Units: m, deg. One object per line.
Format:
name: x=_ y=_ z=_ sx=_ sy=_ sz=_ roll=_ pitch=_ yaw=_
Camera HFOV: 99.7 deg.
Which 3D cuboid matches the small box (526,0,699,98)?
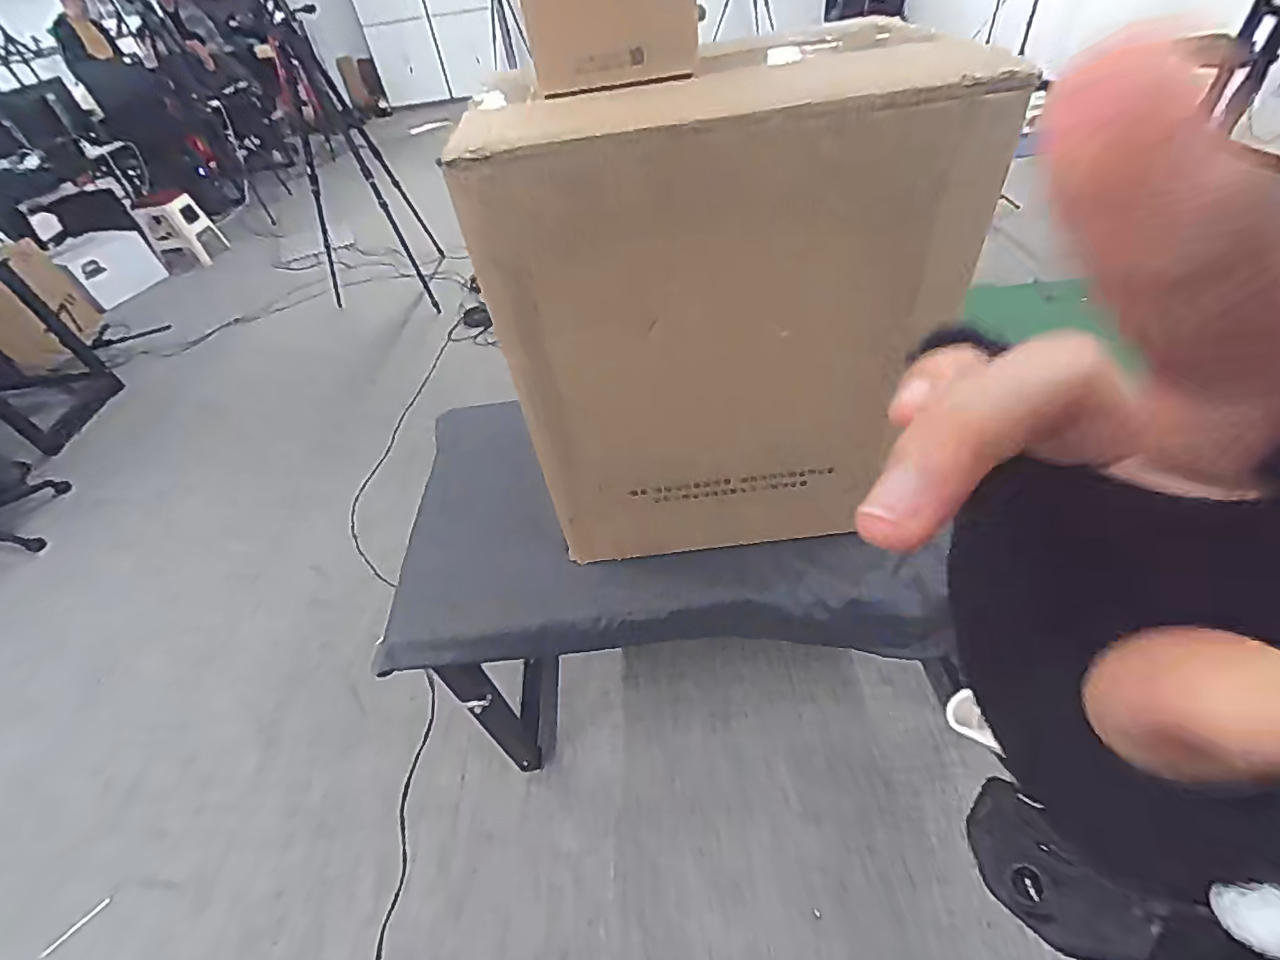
small box: x=-0.029 y=-0.516 z=0.563 sx=0.168 sy=0.176 sz=0.179 roll=-6 pitch=44 yaw=4
